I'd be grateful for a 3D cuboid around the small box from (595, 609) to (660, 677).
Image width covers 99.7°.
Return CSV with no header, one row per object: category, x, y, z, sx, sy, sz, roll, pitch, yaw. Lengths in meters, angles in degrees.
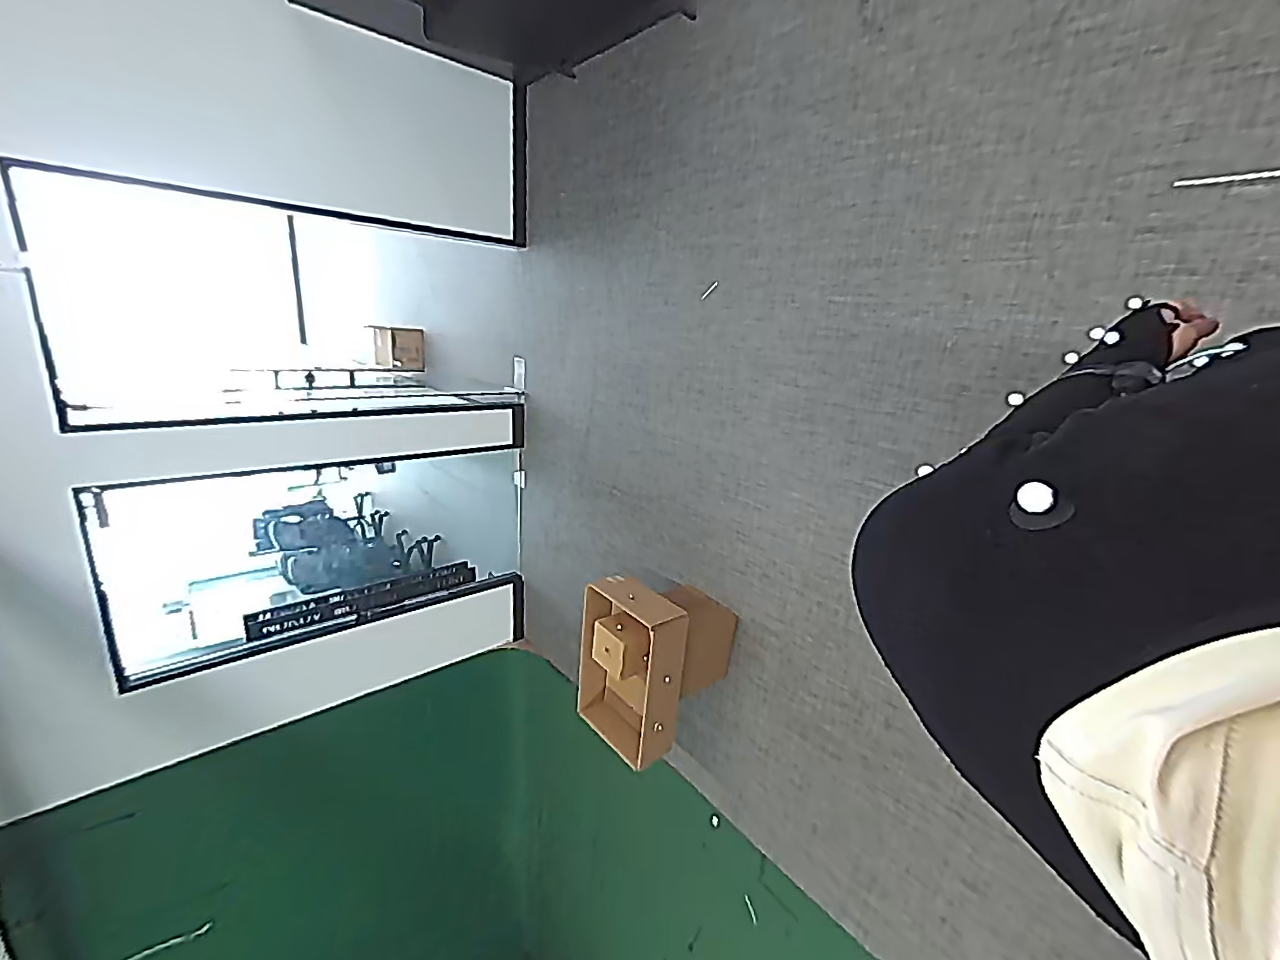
small box,-0.048,0.609,2.047,0.179,0.176,0.168,24,114,45
